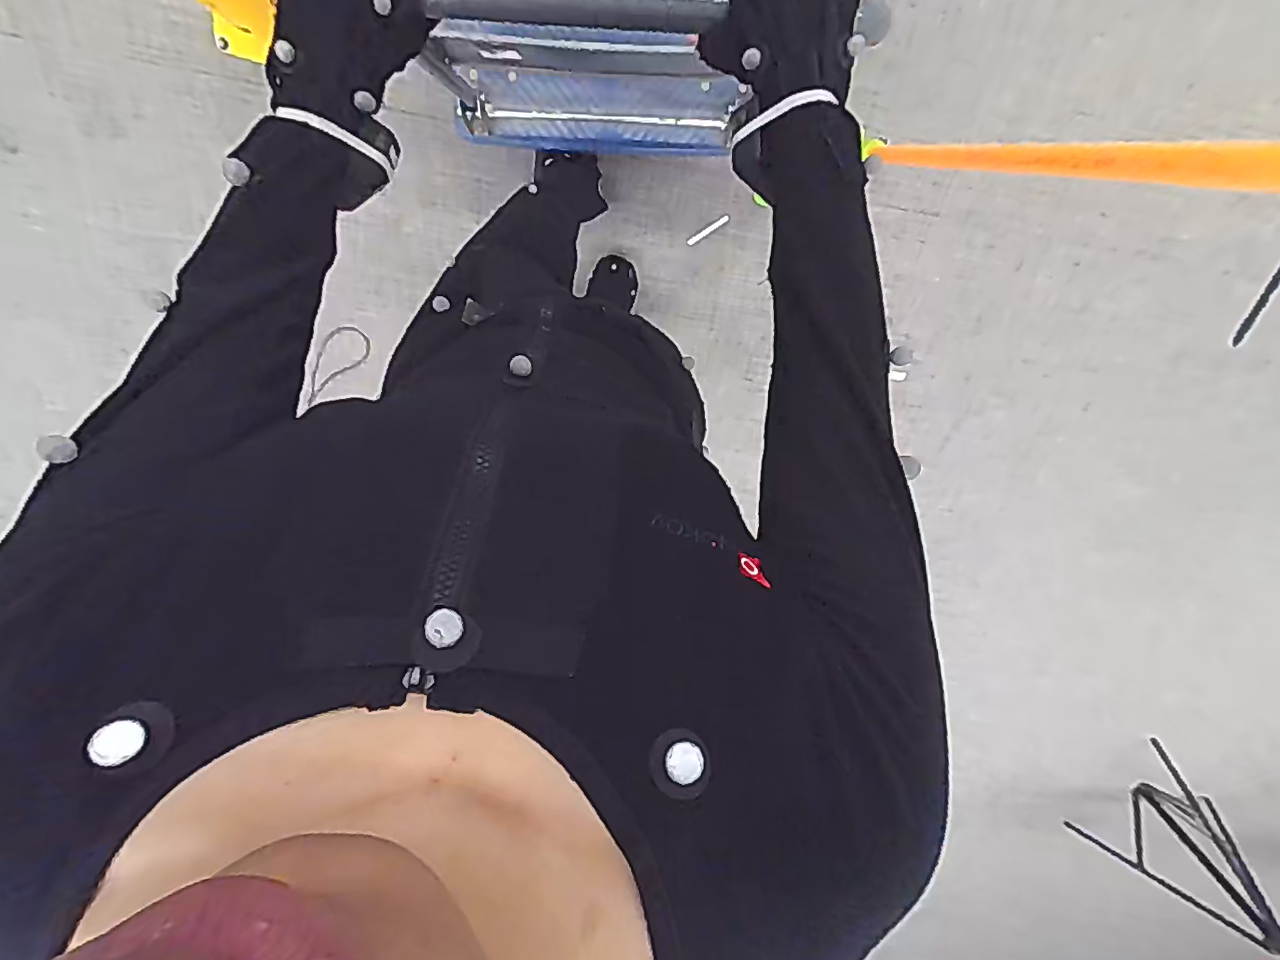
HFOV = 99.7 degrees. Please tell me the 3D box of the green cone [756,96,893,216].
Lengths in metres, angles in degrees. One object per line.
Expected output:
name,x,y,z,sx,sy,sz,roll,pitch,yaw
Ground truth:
green cone,0.385,-0.632,1.052,0.202,0.368,0.200,11,118,-10
